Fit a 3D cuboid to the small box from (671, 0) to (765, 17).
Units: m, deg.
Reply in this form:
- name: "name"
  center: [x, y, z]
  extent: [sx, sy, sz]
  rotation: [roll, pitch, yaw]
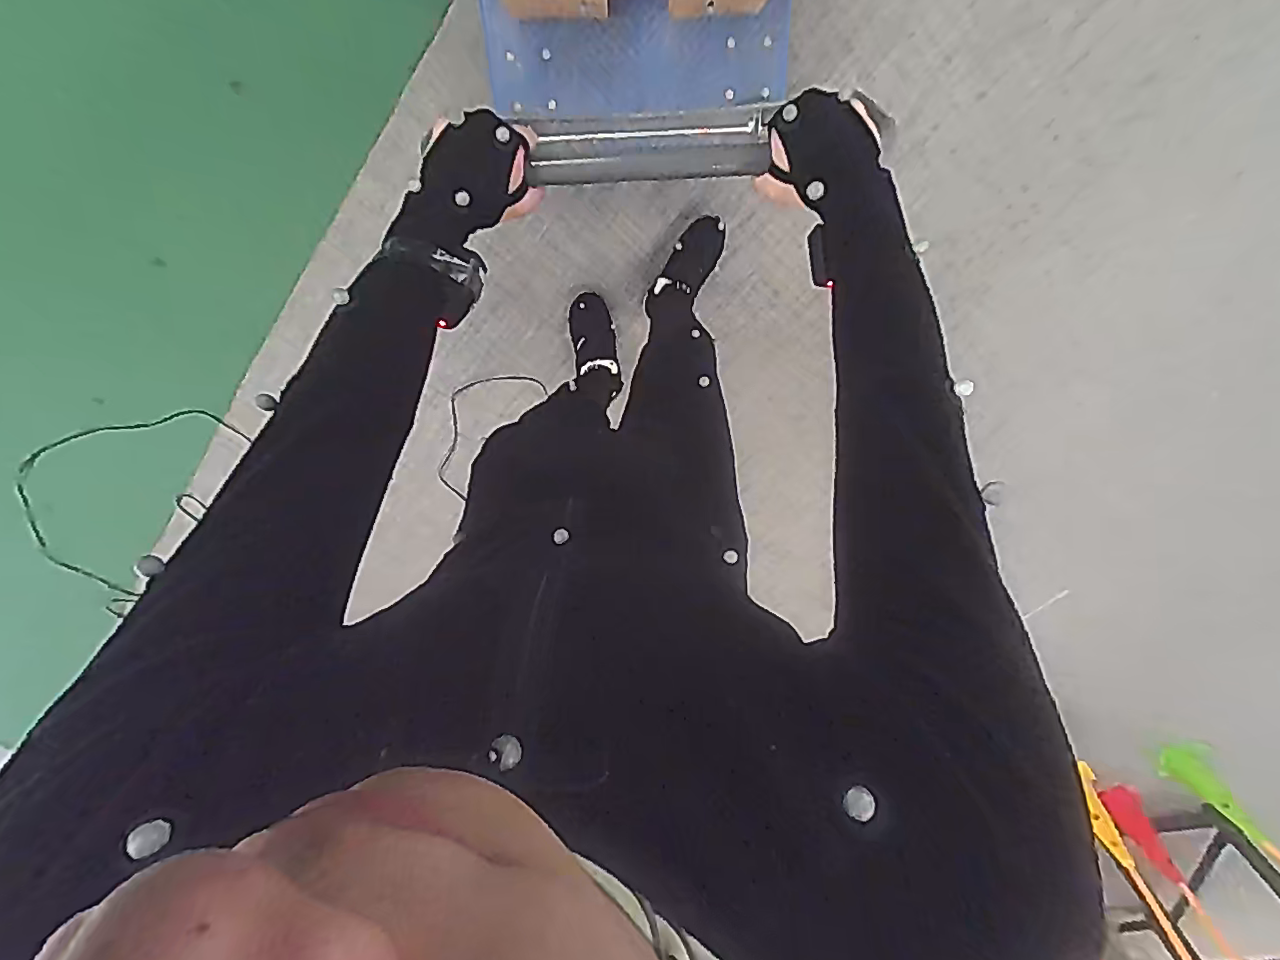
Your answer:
- name: "small box"
  center: [0.135, -0.895, 0.885]
  extent: [0.168, 0.176, 0.179]
  rotation: [-3, 120, 1]
